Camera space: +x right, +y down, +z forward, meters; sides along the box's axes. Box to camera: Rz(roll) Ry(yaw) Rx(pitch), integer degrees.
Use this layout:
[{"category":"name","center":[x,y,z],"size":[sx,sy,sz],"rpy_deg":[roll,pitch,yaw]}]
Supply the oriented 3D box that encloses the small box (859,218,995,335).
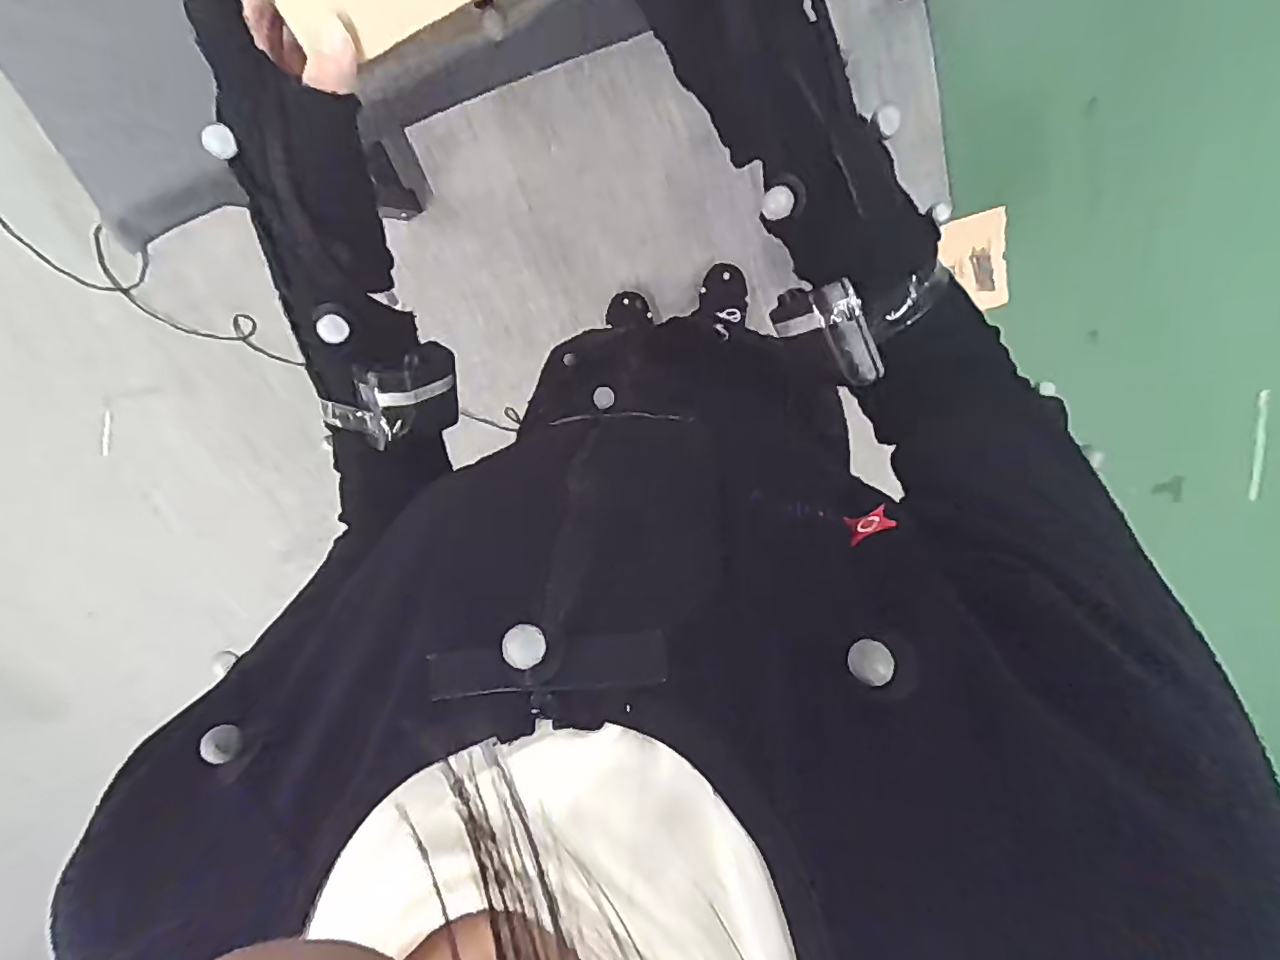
[{"category":"small box","center":[0.543,-0.390,1.036],"size":[0.179,0.176,0.168],"rpy_deg":[-13,111,8]}]

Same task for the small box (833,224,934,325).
[{"category":"small box","center":[0.544,-0.454,1.188],"size":[0.179,0.176,0.168],"rpy_deg":[-13,111,9]}]

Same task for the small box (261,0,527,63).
[{"category":"small box","center":[-0.094,-0.315,0.235],"size":[0.179,0.176,0.168],"rpy_deg":[-14,130,14]}]
